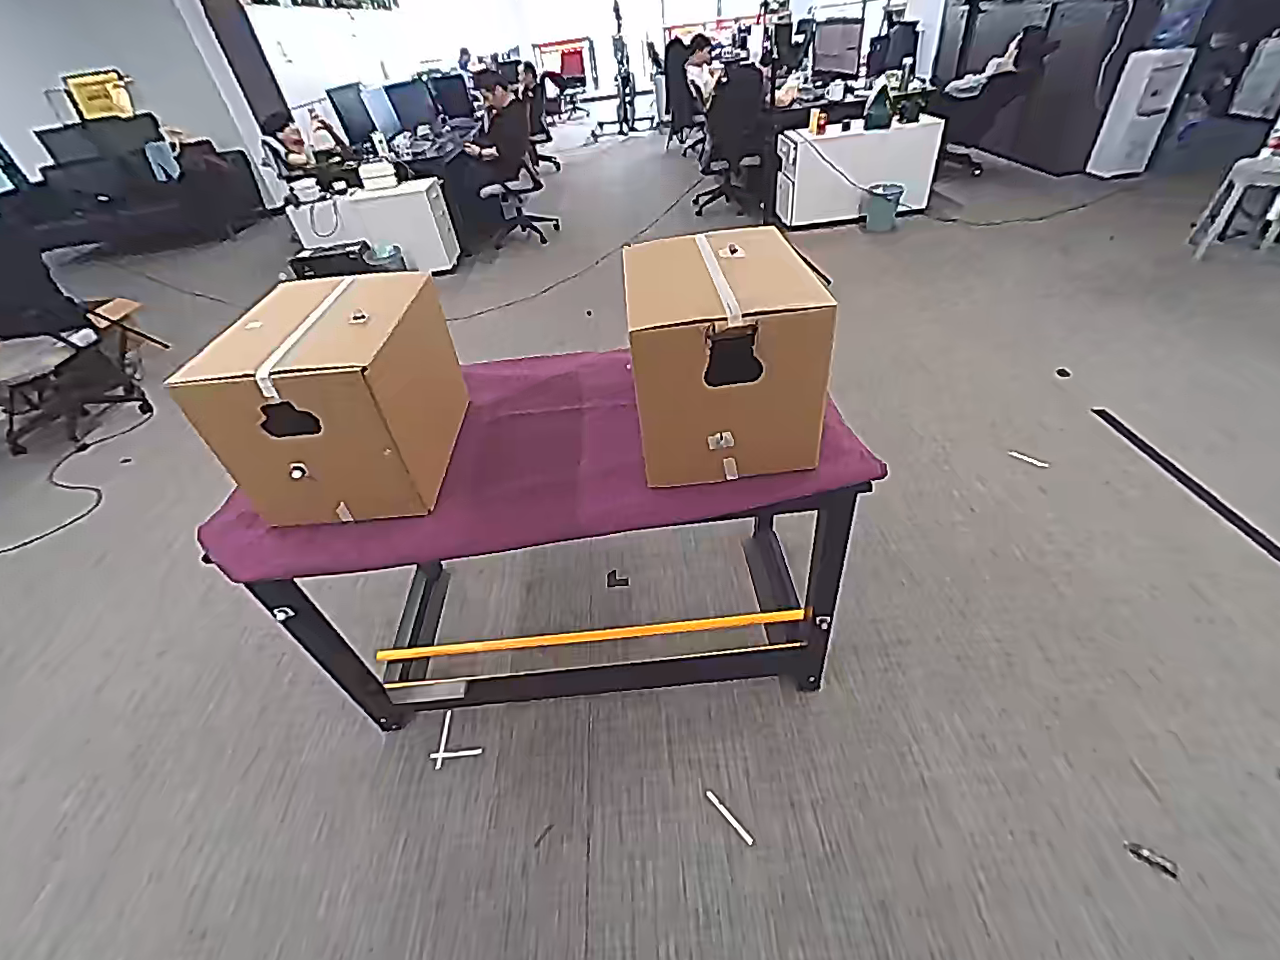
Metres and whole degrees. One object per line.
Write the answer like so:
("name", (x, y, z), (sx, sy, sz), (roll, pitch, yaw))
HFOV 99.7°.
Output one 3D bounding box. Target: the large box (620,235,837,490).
("large box", (0.142, -0.234, 1.030), (0.320, 0.320, 0.408), (-6, 39, 1))
